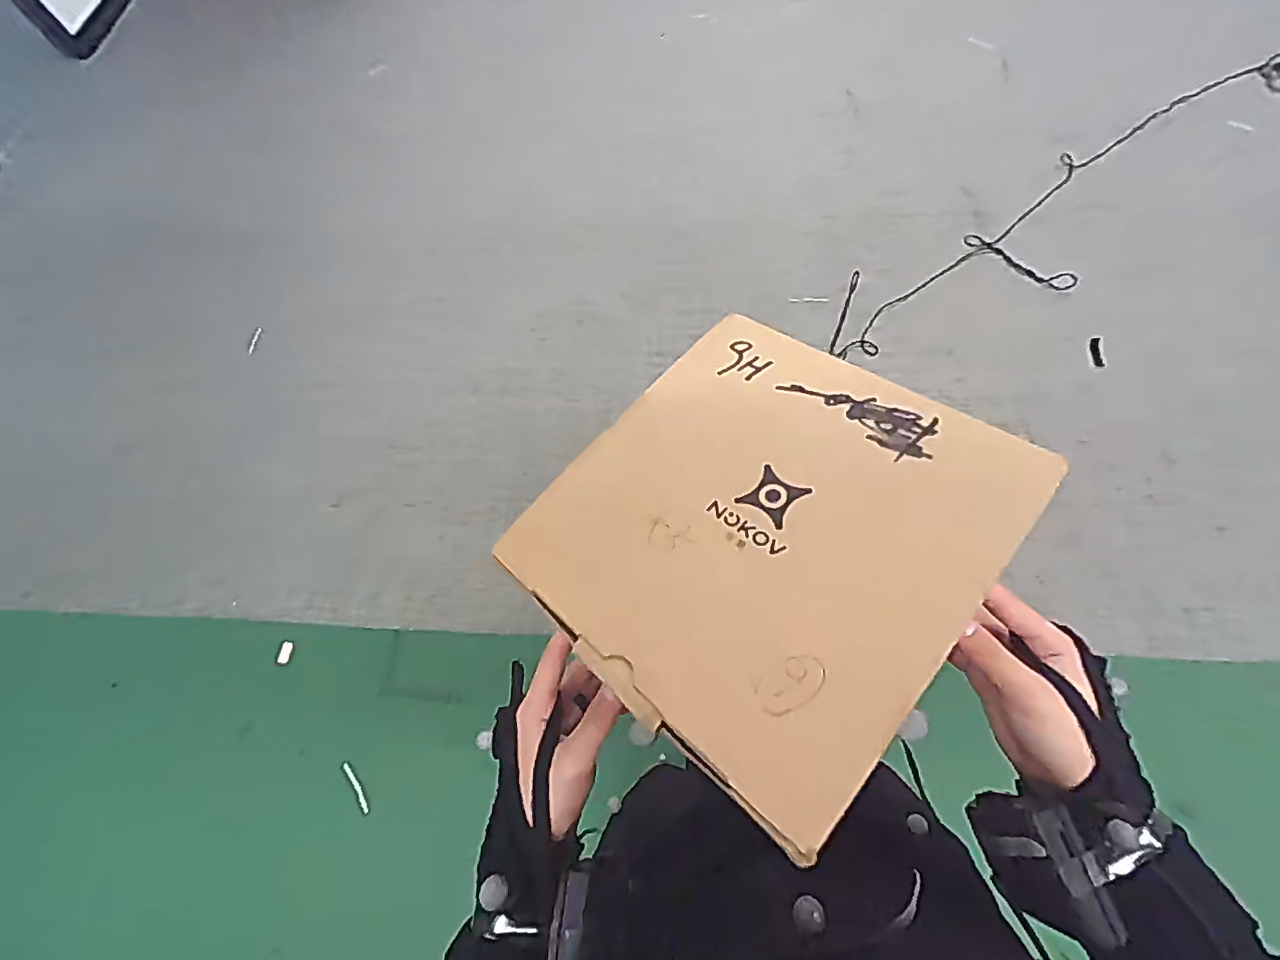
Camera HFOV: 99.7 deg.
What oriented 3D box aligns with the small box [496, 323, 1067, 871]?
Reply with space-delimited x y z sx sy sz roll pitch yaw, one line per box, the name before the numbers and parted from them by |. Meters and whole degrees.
small box | 0.066 0.059 0.287 0.168 0.176 0.179 36 74 30
